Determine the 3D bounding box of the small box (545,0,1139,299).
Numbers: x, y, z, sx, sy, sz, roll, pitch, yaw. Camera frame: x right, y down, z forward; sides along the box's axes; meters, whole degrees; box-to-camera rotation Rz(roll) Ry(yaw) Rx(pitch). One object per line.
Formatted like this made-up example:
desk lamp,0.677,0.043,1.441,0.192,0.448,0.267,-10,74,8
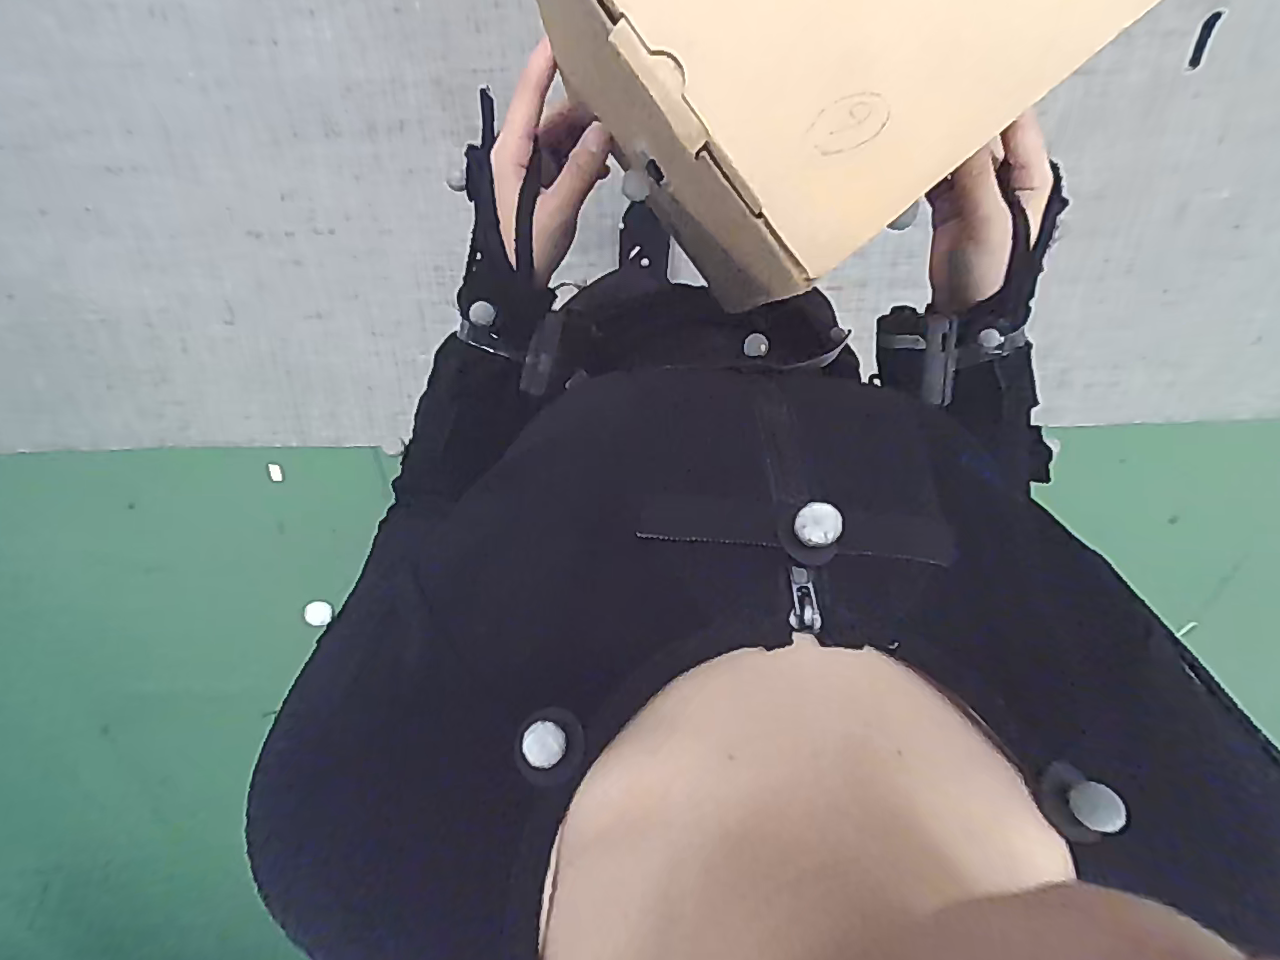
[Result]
small box,0.072,-0.201,0.238,0.179,0.176,0.168,-38,100,10
